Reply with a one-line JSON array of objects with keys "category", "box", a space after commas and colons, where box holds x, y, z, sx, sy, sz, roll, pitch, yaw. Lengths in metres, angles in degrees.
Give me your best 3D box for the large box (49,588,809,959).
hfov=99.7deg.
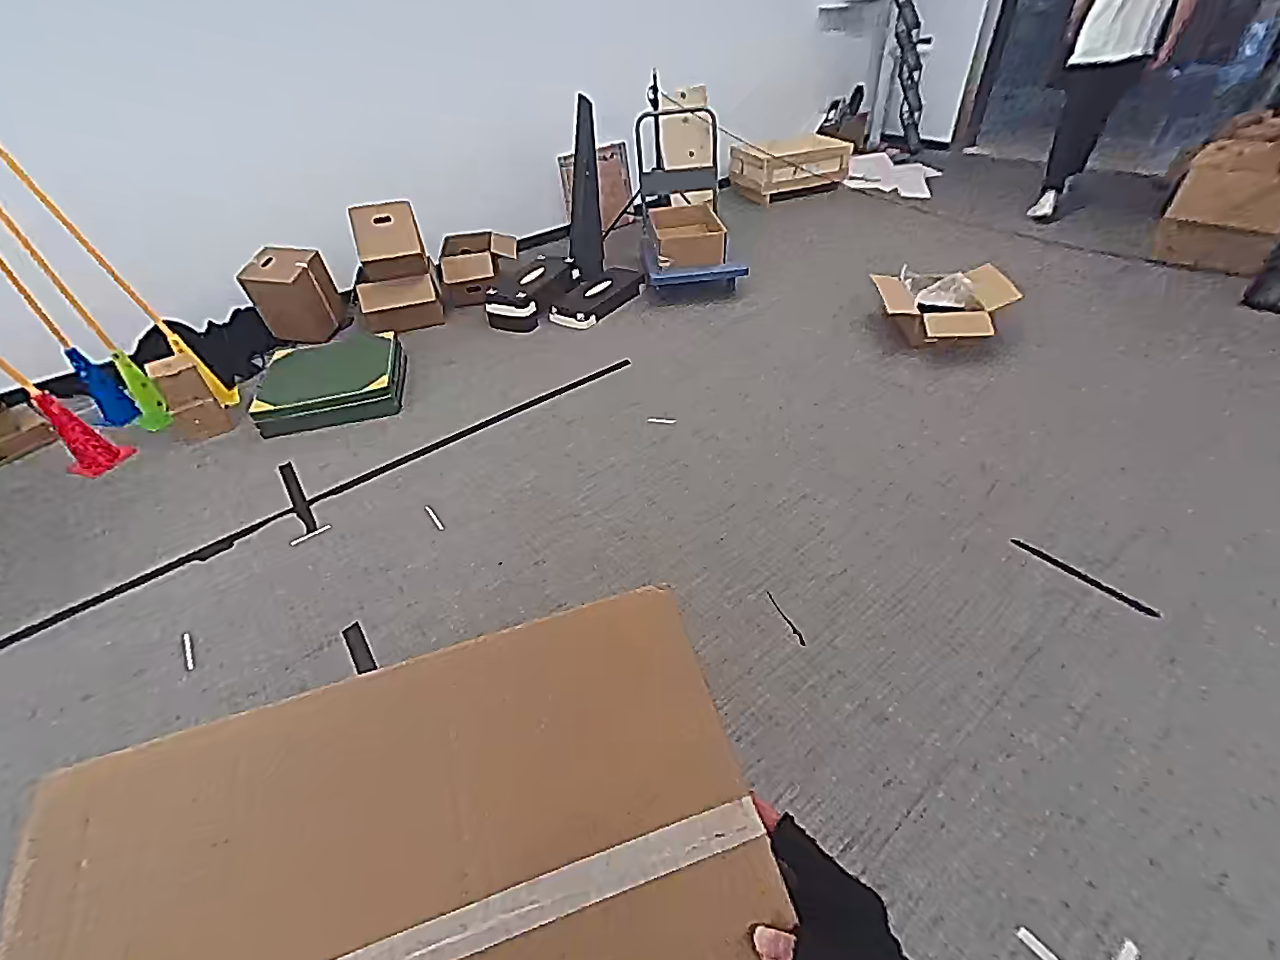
[{"category": "large box", "box": [-0.119, 0.335, 0.424, 0.408, 0.320, 0.320, -15, 60, -9]}]
